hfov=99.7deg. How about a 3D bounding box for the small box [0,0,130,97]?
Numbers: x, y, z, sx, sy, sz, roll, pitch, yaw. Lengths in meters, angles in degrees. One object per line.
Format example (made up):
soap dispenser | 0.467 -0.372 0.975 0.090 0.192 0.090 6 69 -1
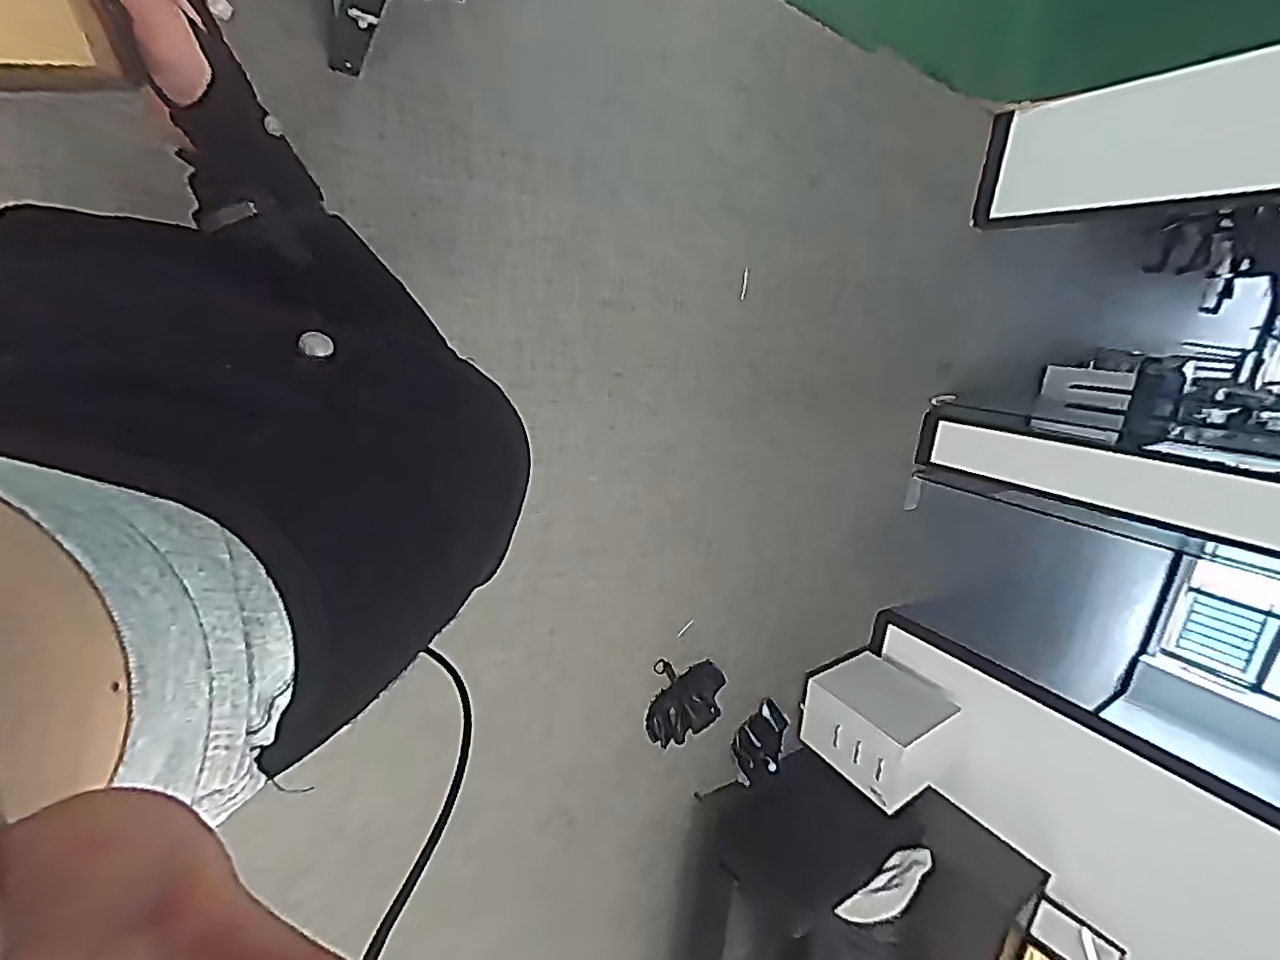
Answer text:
small box | -0.378 -0.283 0.240 0.168 0.176 0.179 -20 128 -26
